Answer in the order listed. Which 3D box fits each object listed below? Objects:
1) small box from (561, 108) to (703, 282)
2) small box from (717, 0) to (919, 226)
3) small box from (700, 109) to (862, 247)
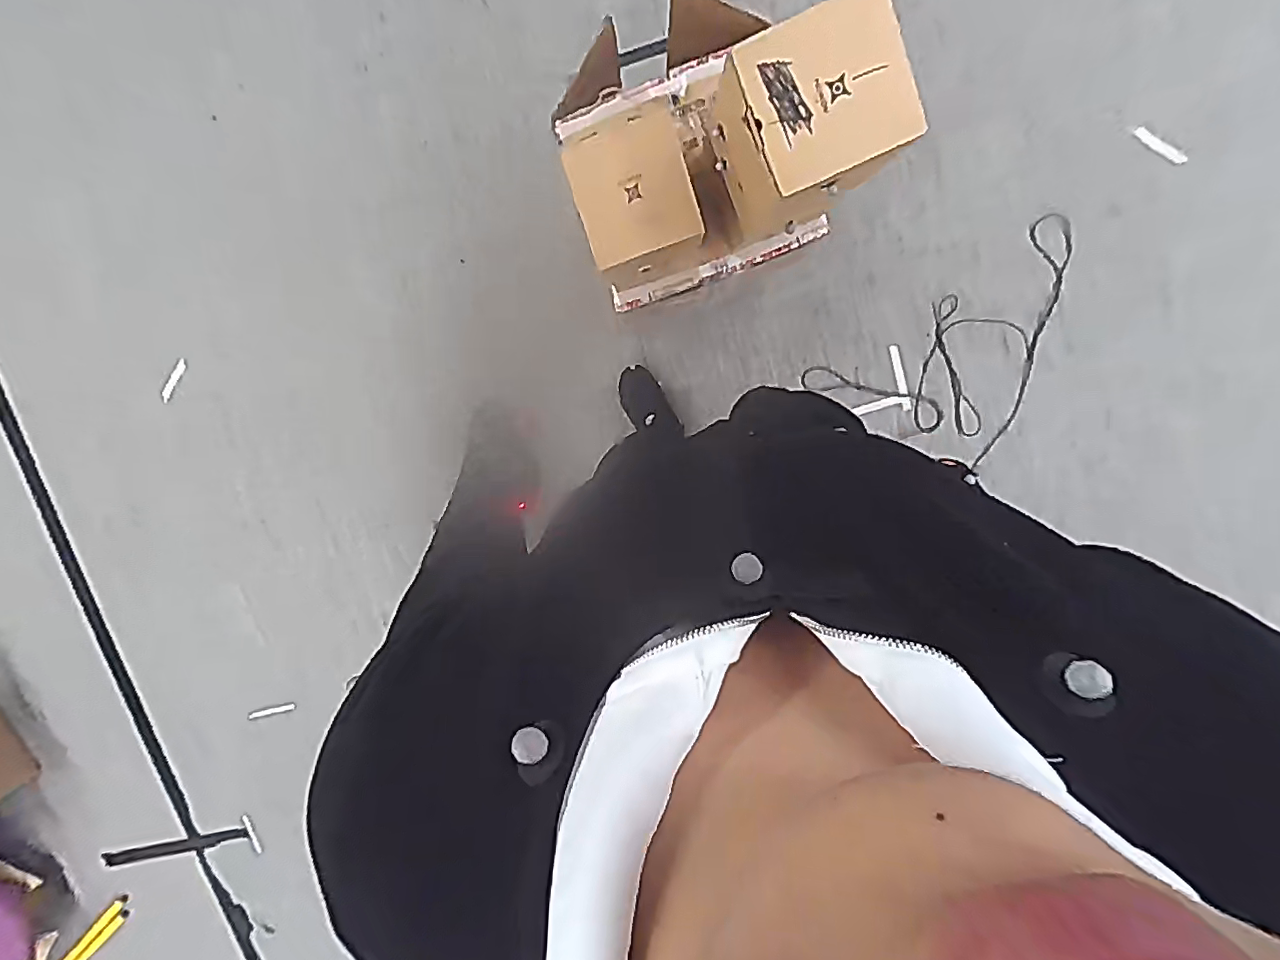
[{"bbox_3d":[-0.008,-0.433,0.853,0.168,0.176,0.179,-18,103,7],"label":"small box"},{"bbox_3d":[0.205,-0.445,0.676,0.179,0.176,0.168,-23,102,5],"label":"small box"},{"bbox_3d":[0.207,-0.487,0.837,0.179,0.176,0.168,-23,101,5],"label":"small box"}]
